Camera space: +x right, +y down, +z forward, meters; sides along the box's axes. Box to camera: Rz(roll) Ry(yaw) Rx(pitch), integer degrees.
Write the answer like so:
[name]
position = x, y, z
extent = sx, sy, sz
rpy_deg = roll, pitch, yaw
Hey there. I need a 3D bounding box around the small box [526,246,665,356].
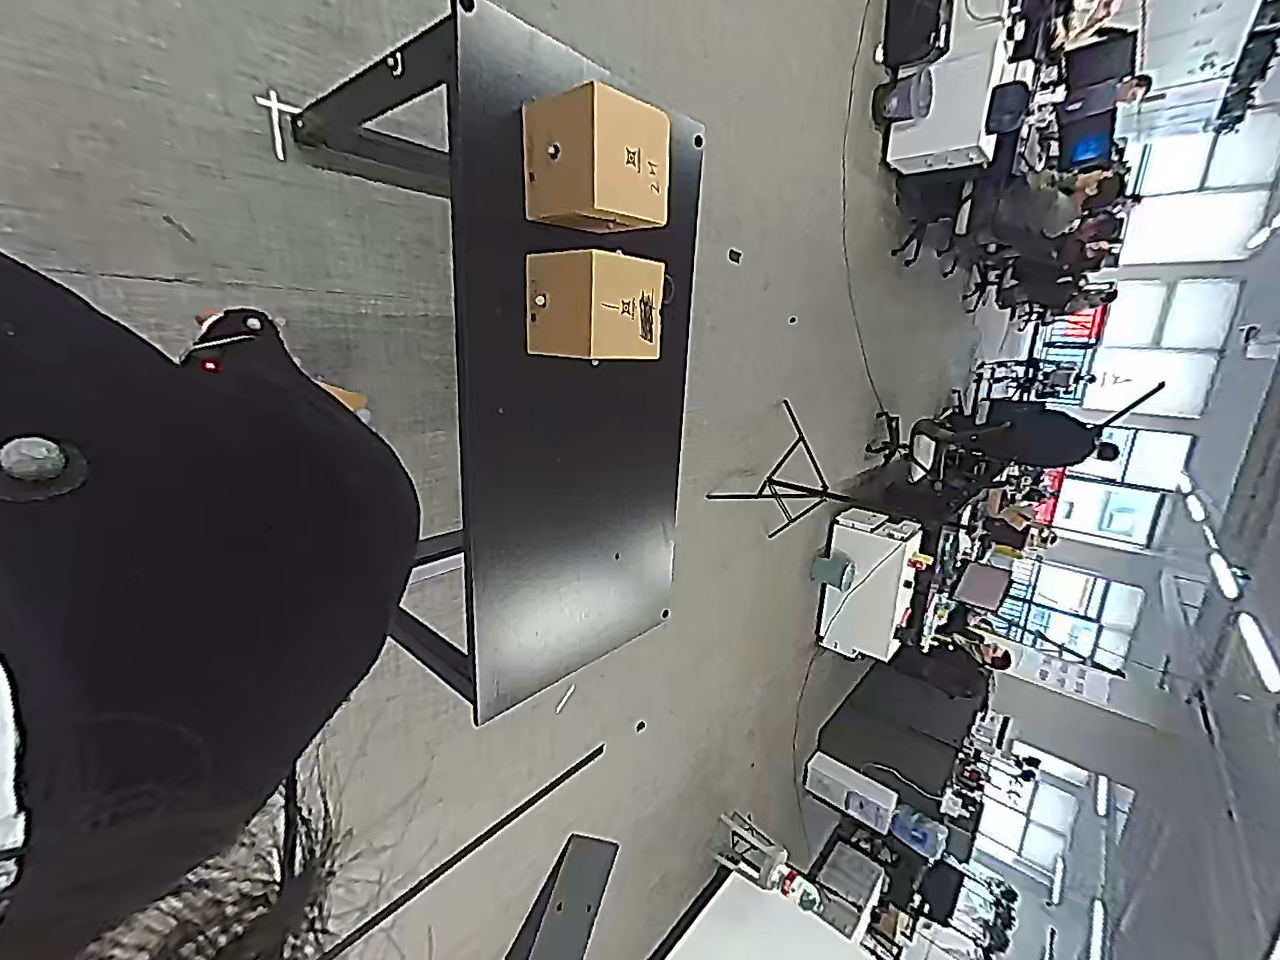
[small box]
position = -0.079, -0.308, 0.950
extent = 0.179, 0.176, 0.168
rpy_deg = -14, 112, -47
